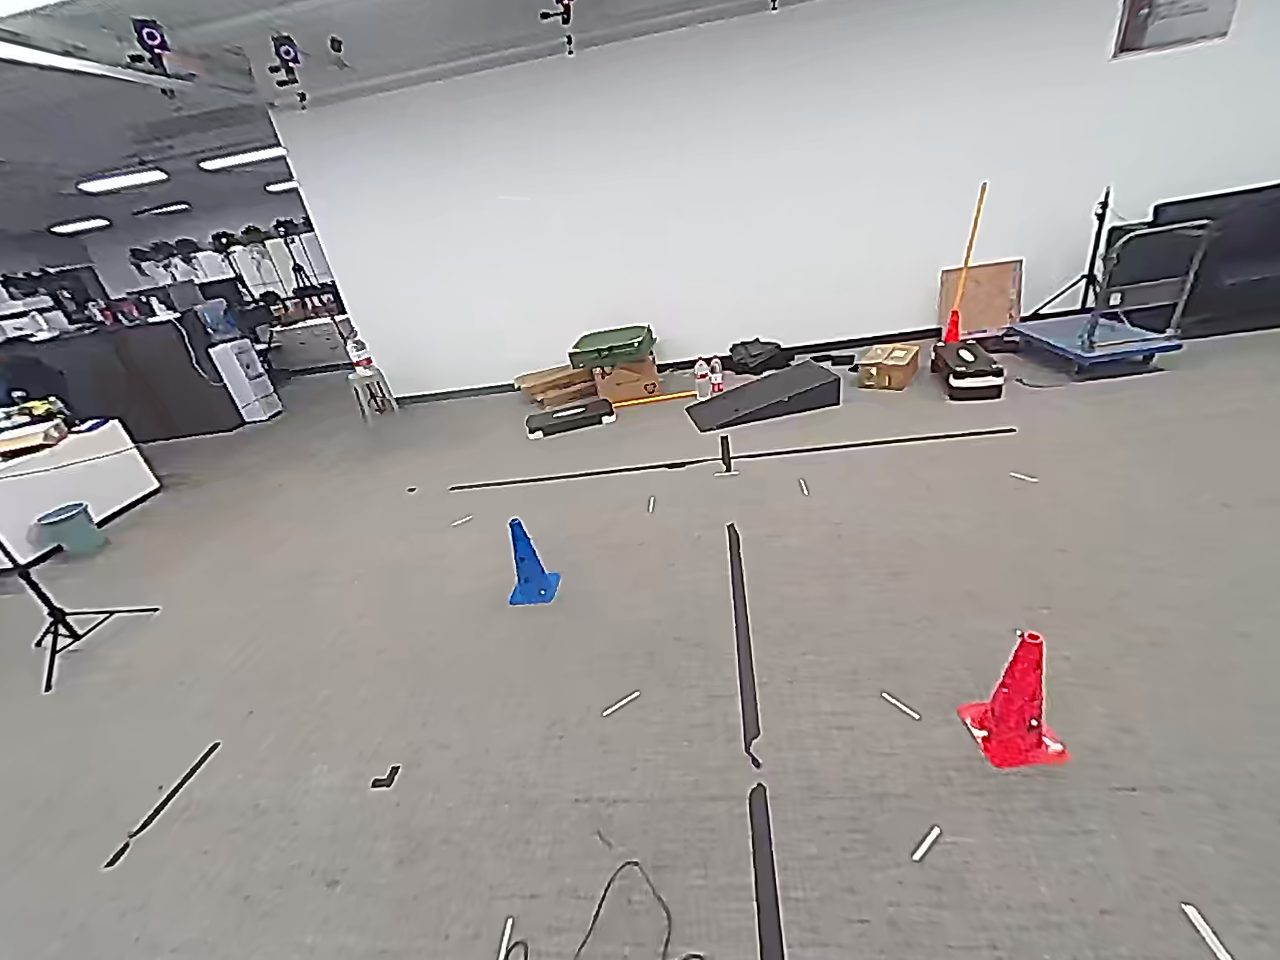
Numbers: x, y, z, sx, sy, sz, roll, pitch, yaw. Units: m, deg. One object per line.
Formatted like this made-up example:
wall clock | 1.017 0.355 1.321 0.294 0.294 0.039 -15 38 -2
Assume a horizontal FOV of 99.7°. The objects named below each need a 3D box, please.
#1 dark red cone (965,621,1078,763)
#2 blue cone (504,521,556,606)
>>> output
dark red cone | 0.991 0.518 1.381 0.201 0.394 0.202 -10 27 2
blue cone | -0.500 0.340 2.300 0.192 0.380 0.193 -6 27 10
